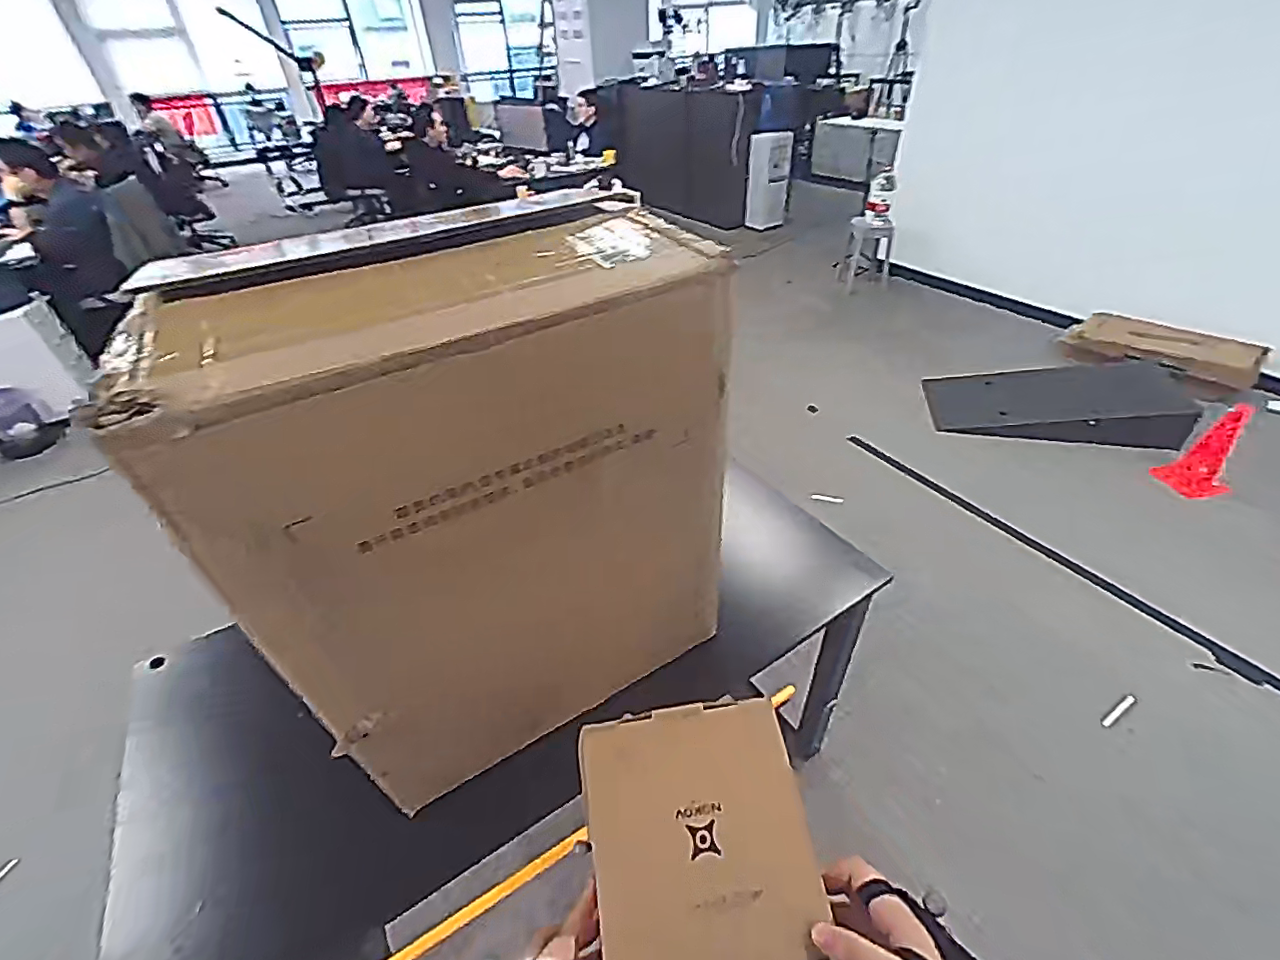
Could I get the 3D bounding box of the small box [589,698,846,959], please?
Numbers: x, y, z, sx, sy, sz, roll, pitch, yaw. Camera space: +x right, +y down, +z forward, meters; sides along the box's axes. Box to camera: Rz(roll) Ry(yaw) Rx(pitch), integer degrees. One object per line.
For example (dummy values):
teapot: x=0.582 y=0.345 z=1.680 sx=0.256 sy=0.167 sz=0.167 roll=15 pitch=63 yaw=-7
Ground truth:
small box: x=0.044 y=0.309 z=0.474 sx=0.168 sy=0.176 sz=0.179 roll=-5 pitch=58 yaw=-9
